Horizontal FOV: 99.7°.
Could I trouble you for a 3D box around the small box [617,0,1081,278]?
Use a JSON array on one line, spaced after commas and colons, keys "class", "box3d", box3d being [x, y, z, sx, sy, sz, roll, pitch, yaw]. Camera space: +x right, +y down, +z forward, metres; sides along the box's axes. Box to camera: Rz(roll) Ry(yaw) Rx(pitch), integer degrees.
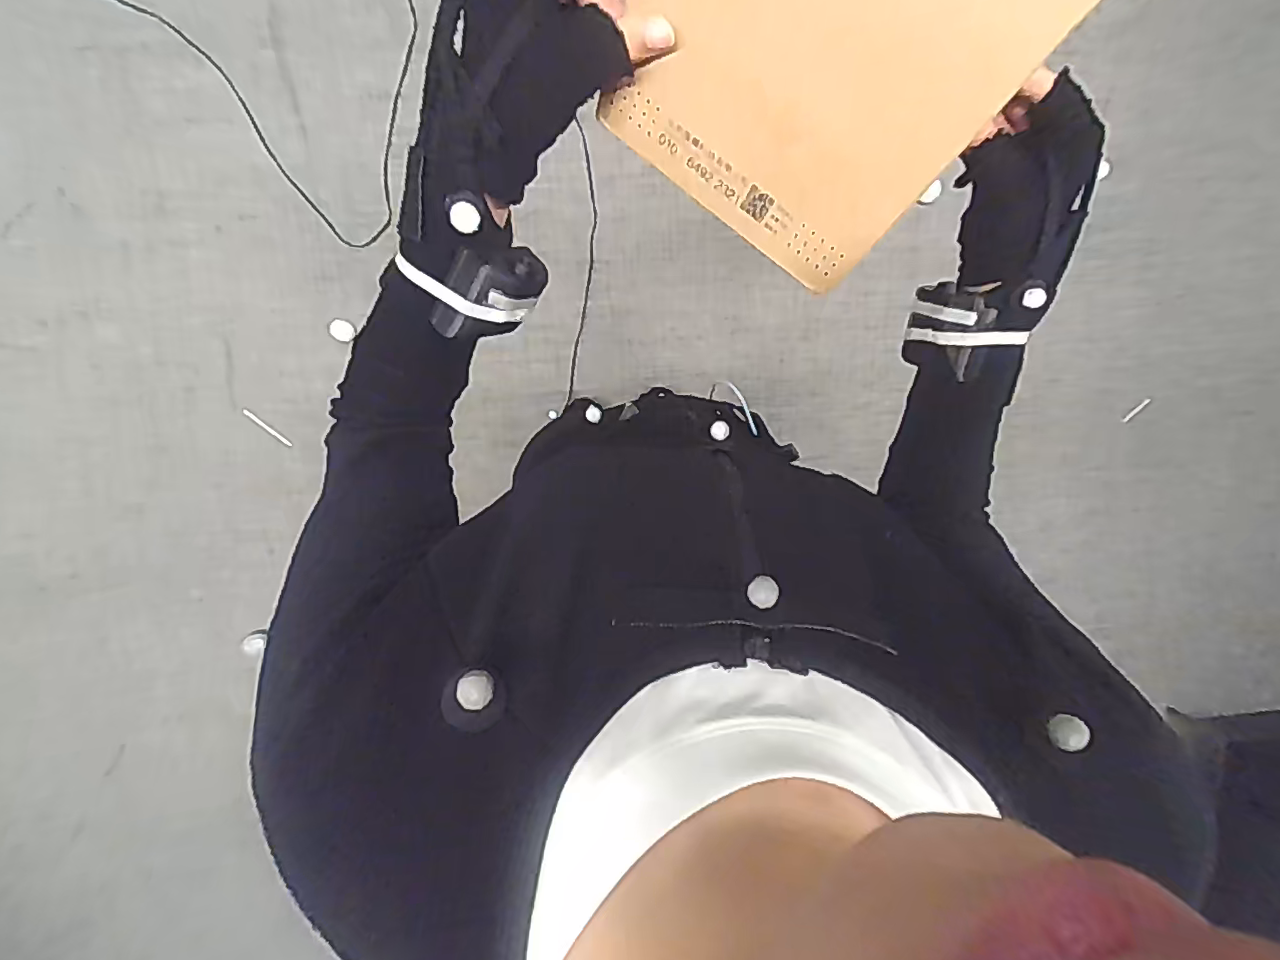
[{"class": "small box", "box3d": [0.111, -0.249, 0.284, 0.168, 0.176, 0.179, 38, 58, -1]}]
